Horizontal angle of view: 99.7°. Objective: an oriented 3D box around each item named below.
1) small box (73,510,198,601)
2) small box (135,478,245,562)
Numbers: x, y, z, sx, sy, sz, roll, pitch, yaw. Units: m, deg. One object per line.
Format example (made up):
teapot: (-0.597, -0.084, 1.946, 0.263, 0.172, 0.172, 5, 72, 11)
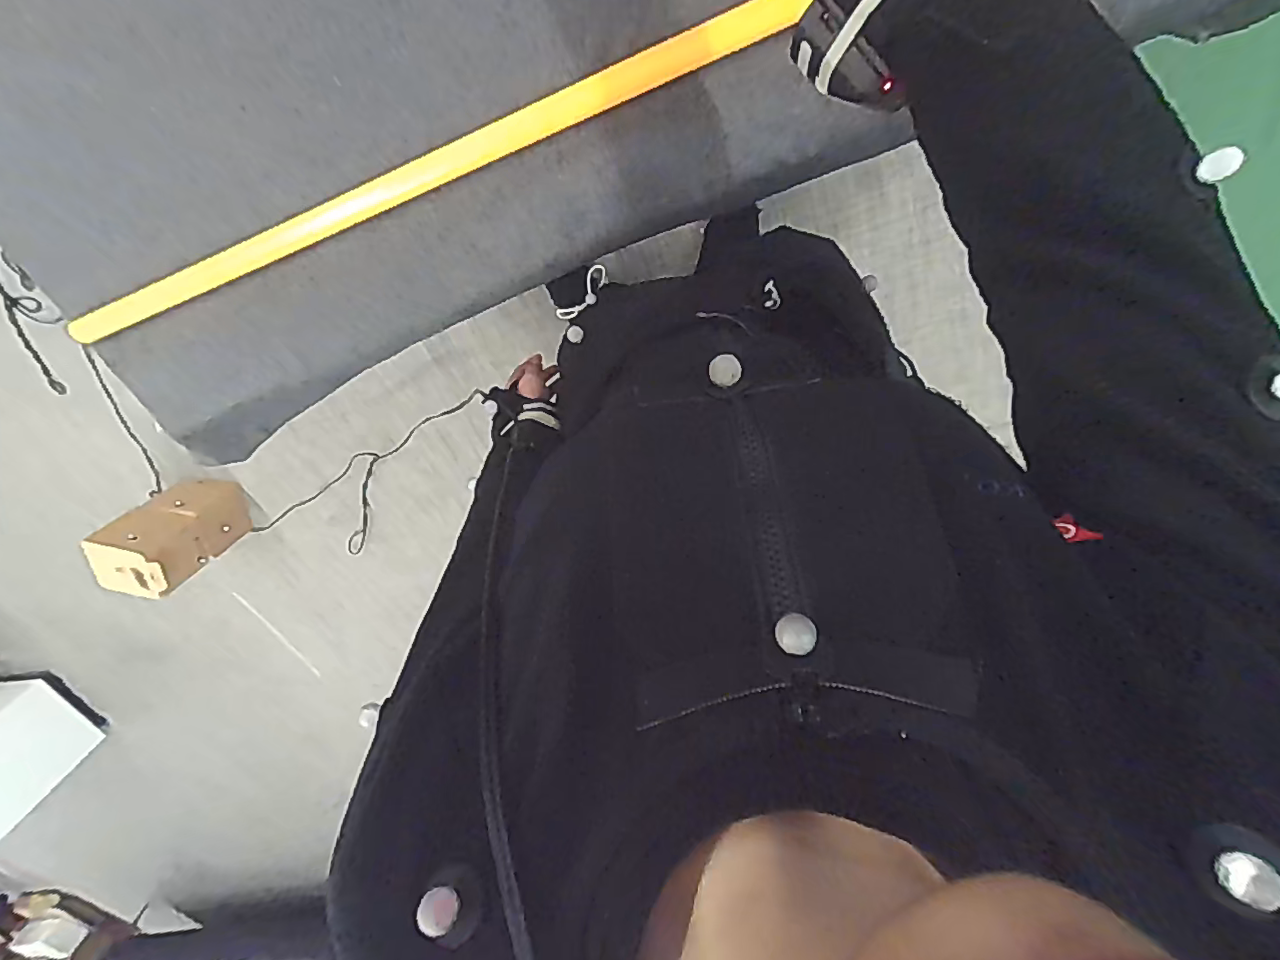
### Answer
small box: (-1.361, 0.202, 1.480, 0.179, 0.176, 0.168, 12, 120, 0)
small box: (-1.334, 0.117, 1.620, 0.168, 0.176, 0.179, 8, 121, 2)
